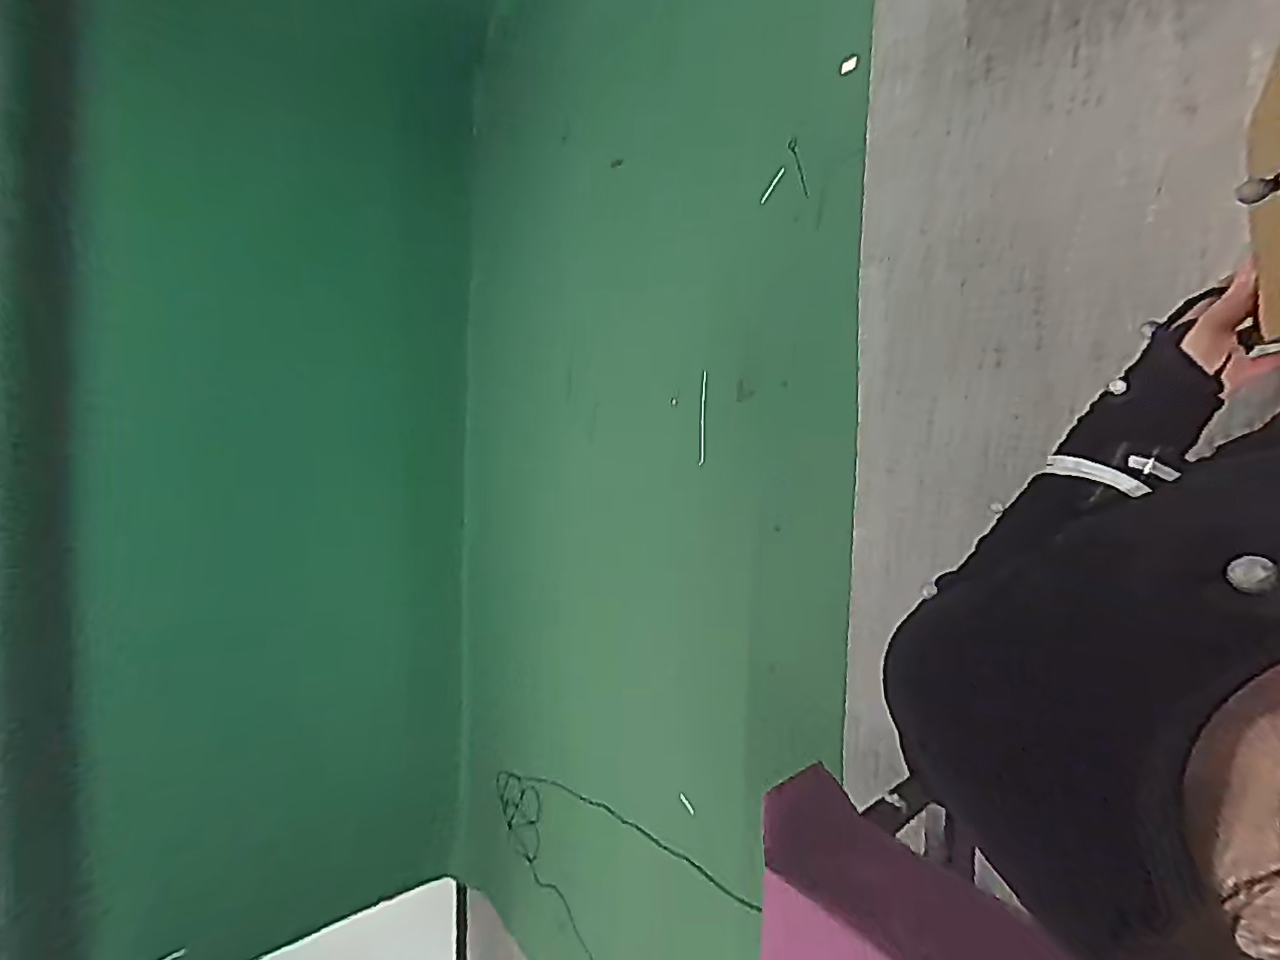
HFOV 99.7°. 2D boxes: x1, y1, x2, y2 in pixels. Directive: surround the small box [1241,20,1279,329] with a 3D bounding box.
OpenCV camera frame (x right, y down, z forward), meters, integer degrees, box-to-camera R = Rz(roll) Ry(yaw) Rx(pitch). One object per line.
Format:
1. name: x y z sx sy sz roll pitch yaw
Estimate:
1. small box: 0.492 -0.193 0.323 0.168 0.176 0.179 -2 94 44
